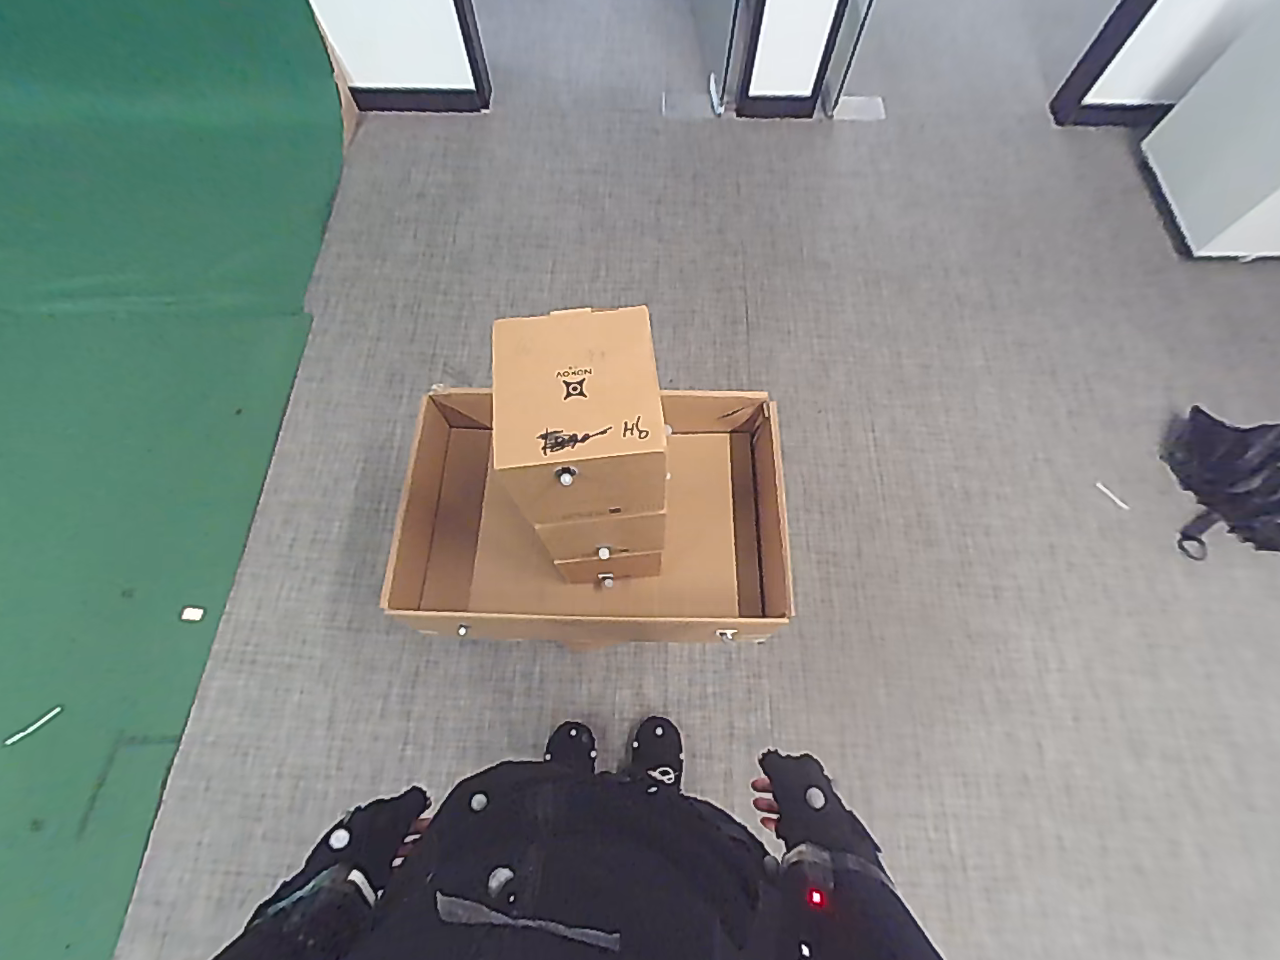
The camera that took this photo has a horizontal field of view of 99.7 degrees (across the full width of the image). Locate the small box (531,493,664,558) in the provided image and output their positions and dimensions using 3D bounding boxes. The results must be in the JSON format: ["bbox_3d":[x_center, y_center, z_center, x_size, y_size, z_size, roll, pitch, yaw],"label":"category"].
[{"bbox_3d":[-0.058,0.000,0.769,0.168,0.176,0.179,-6,68,-1],"label":"small box"}]

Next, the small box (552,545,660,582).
[{"bbox_3d":[-0.058,0.065,0.919,0.168,0.176,0.179,-6,68,-1],"label":"small box"}]

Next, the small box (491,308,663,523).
[{"bbox_3d":[-0.065,-0.066,0.619,0.168,0.176,0.179,-7,66,0],"label":"small box"}]
